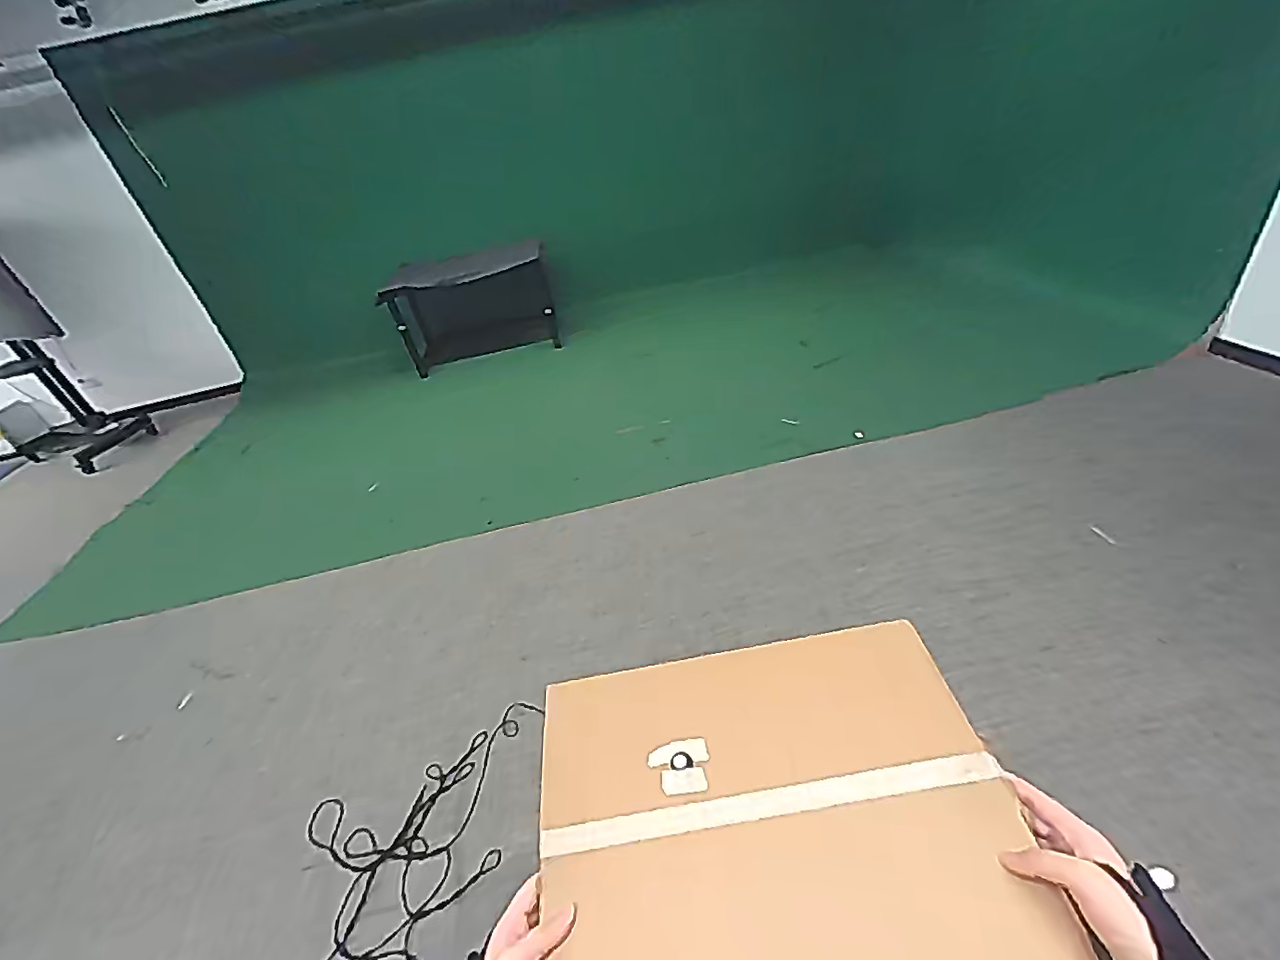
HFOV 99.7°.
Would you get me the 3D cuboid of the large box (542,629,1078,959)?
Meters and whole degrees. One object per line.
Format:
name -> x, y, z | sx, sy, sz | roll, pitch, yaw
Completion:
large box -> 0.137, 0.412, 0.584 | 0.408, 0.320, 0.320 | -13, 40, 4
